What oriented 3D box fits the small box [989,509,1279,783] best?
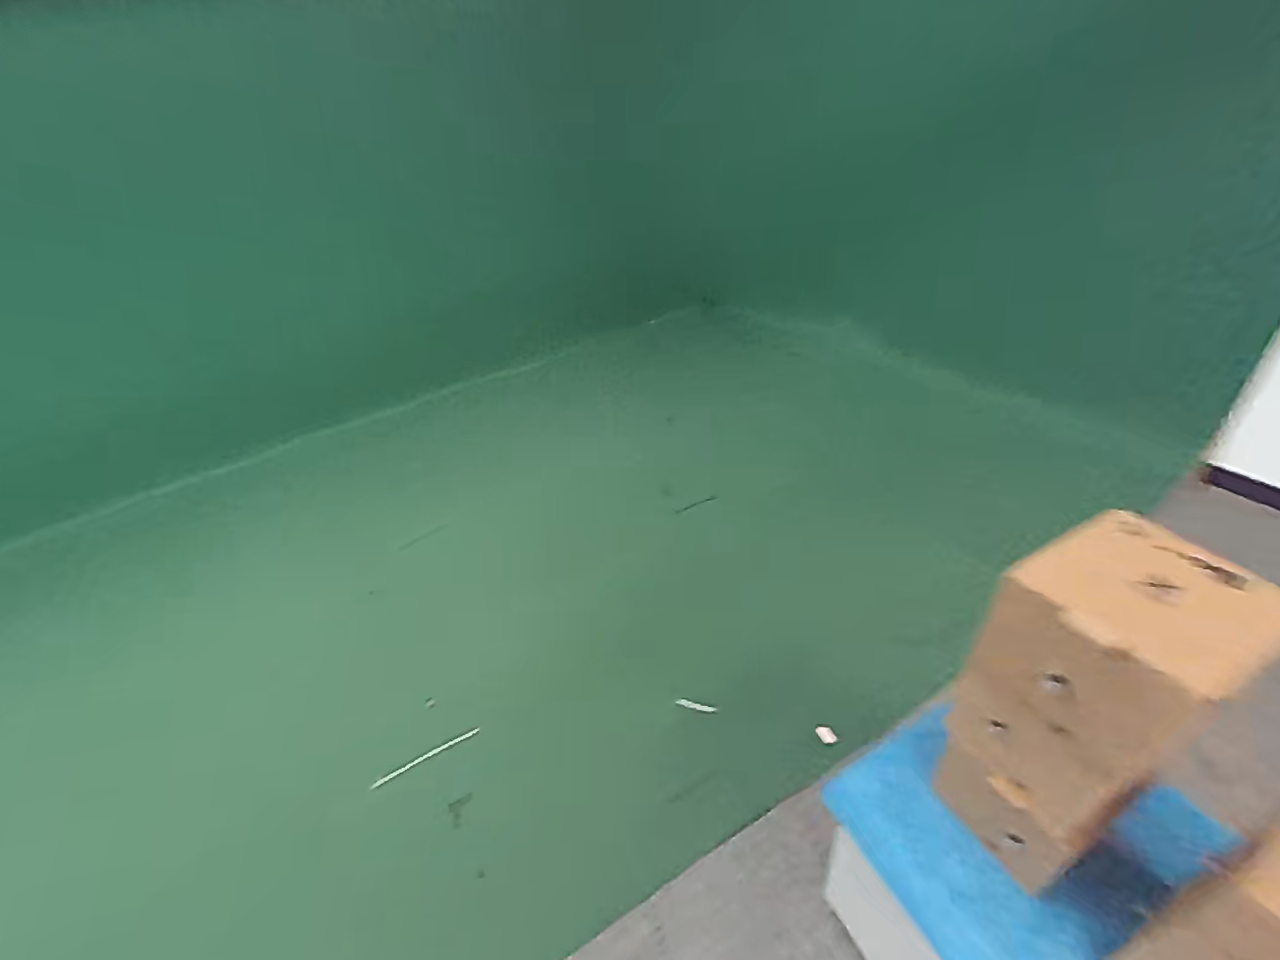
[{"bbox_3d":[0.492,0.164,0.546,0.179,0.176,0.168,-21,40,-15],"label":"small box"}]

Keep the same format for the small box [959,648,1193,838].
[{"bbox_3d":[0.521,0.286,0.652,0.179,0.176,0.168,-20,39,-15],"label":"small box"}]

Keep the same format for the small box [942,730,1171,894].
[{"bbox_3d":[0.548,0.419,0.742,0.179,0.176,0.168,-21,40,-16],"label":"small box"}]
